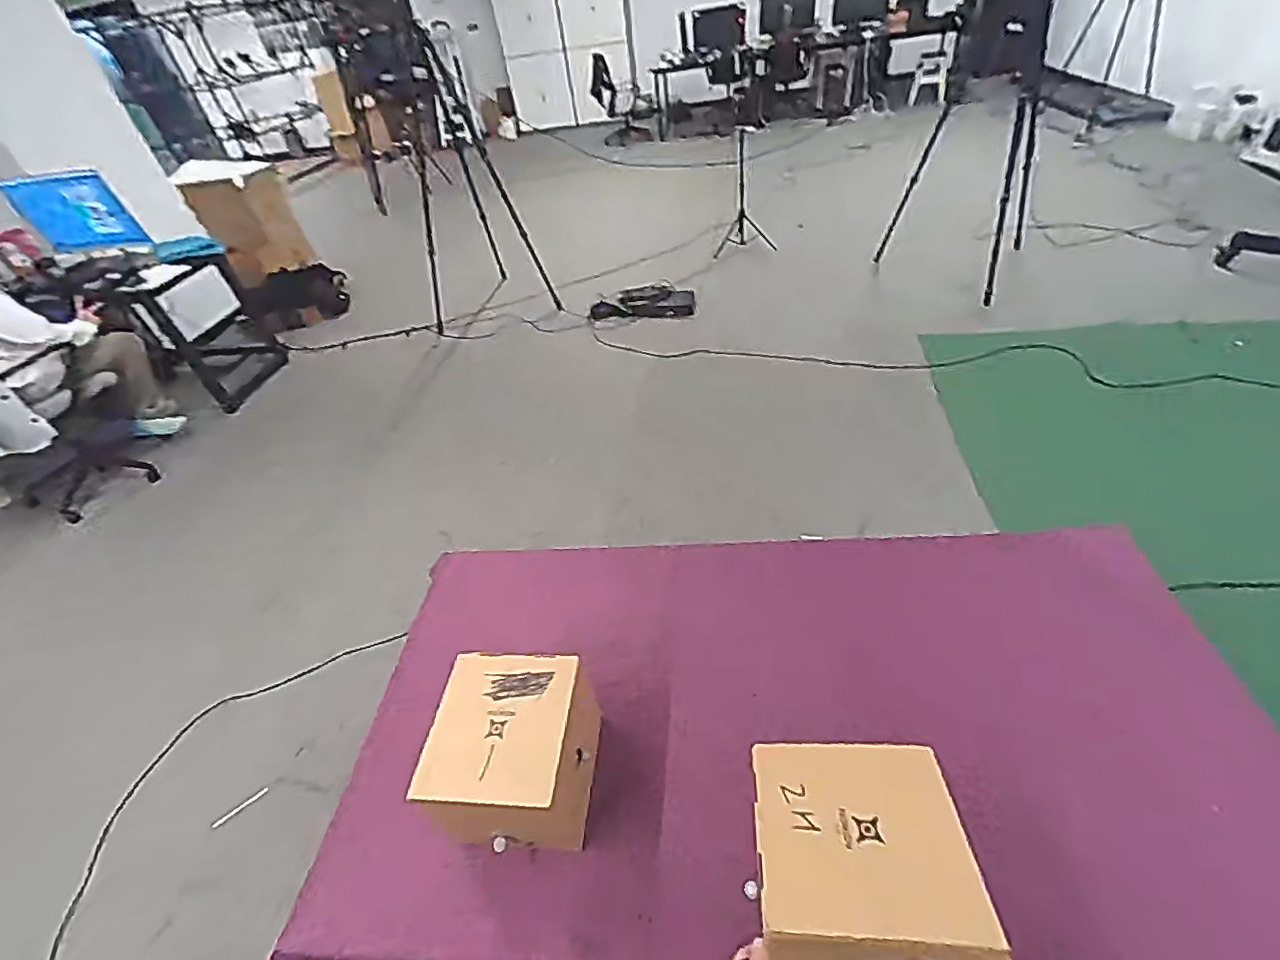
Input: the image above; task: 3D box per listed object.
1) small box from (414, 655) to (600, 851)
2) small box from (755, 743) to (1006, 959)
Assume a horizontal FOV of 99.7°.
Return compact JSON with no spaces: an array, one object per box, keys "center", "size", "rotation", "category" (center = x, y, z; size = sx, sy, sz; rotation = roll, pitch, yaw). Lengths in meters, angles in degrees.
[{"center":[-0.152,0.347,0.694],"size":[0.168,0.176,0.179],"rotation":[-2,44,9],"category":"small box"},{"center":[0.207,0.379,0.516],"size":[0.179,0.176,0.168],"rotation":[-6,26,10],"category":"small box"}]
